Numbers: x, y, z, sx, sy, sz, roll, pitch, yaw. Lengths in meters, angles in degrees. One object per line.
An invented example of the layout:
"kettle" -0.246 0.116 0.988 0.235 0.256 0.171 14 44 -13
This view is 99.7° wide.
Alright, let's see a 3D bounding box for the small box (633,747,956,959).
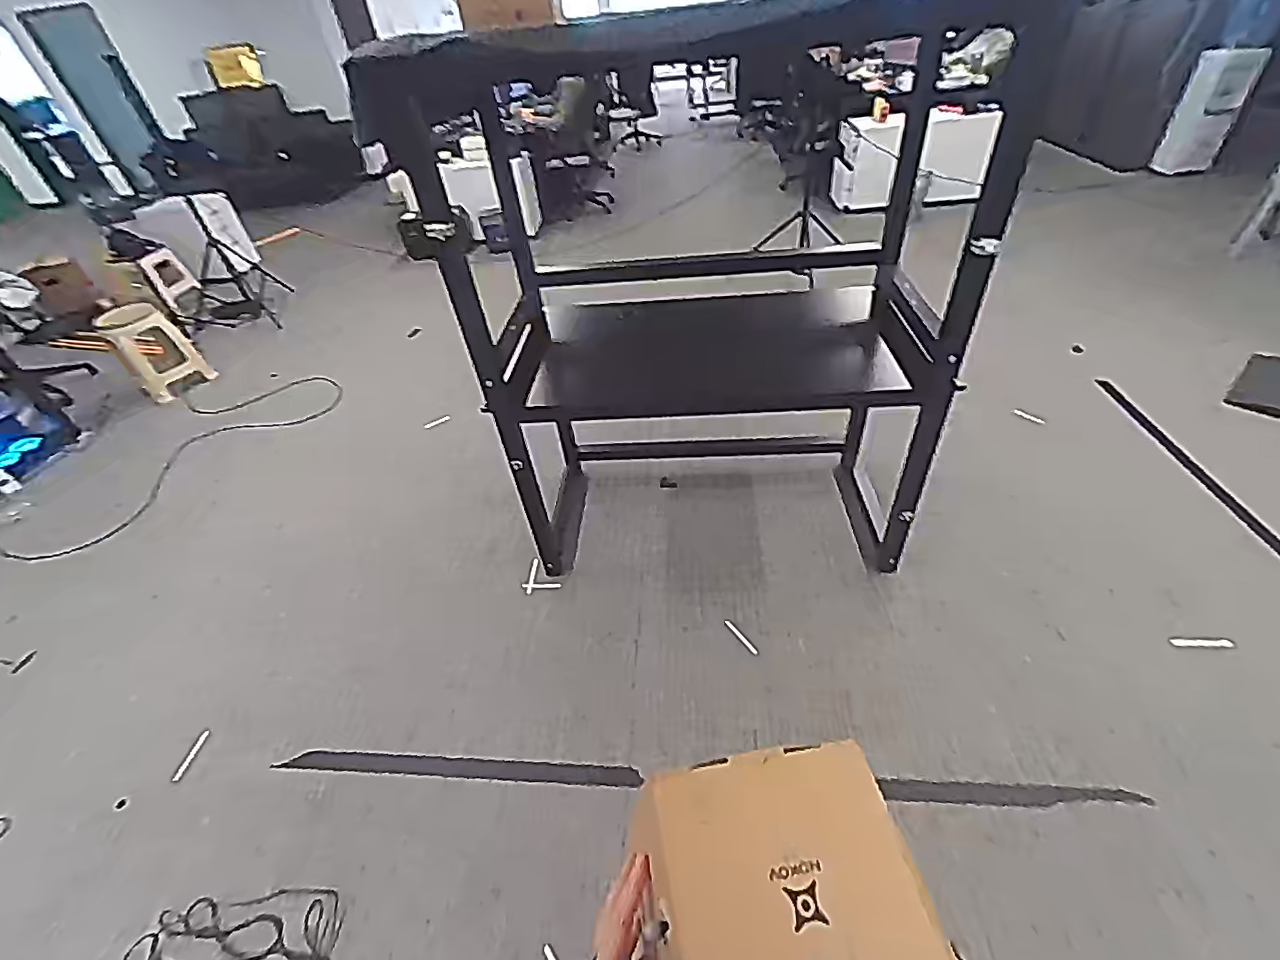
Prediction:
"small box" 0.094 0.325 0.392 0.168 0.176 0.179 -3 44 -12
